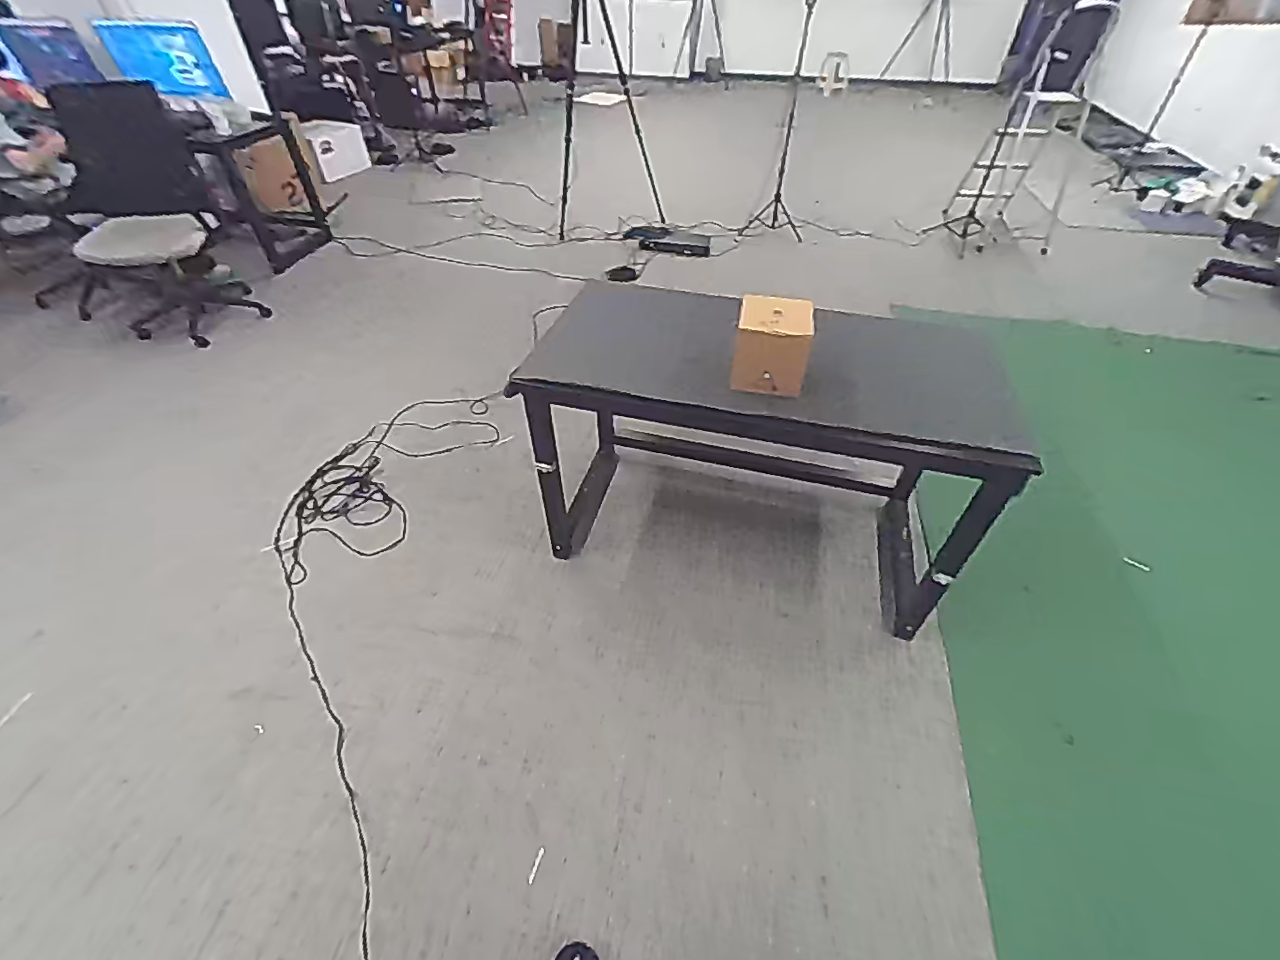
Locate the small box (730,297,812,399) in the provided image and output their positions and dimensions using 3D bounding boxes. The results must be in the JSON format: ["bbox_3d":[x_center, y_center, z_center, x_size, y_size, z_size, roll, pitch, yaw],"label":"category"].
[{"bbox_3d":[0.315,-0.321,1.312,0.168,0.176,0.179,8,44,9],"label":"small box"}]
